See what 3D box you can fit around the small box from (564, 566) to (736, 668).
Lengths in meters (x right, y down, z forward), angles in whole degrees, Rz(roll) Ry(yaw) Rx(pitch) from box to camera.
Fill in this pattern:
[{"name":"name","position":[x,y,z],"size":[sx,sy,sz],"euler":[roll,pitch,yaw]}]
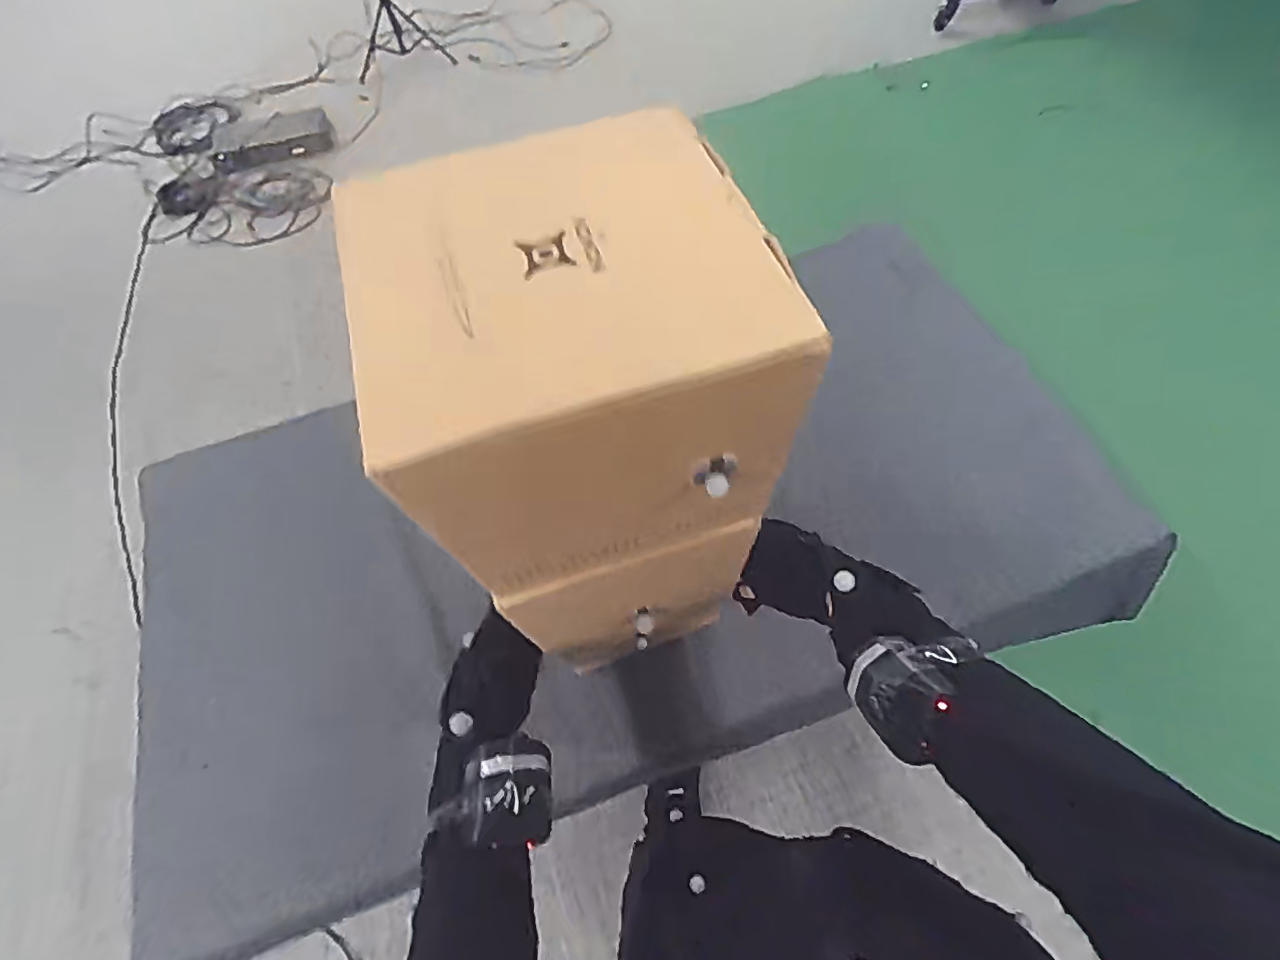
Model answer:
[{"name":"small box","position":[-0.018,0.089,0.598],"size":[0.179,0.176,0.168],"euler":[-22,65,-9]}]

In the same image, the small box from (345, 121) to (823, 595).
[{"name":"small box","position":[-0.031,-0.054,0.306],"size":[0.179,0.176,0.168],"euler":[-19,63,-6]}]

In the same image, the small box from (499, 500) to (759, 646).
[{"name":"small box","position":[-0.026,0.022,0.450],"size":[0.179,0.176,0.168],"euler":[-18,63,-7]}]
